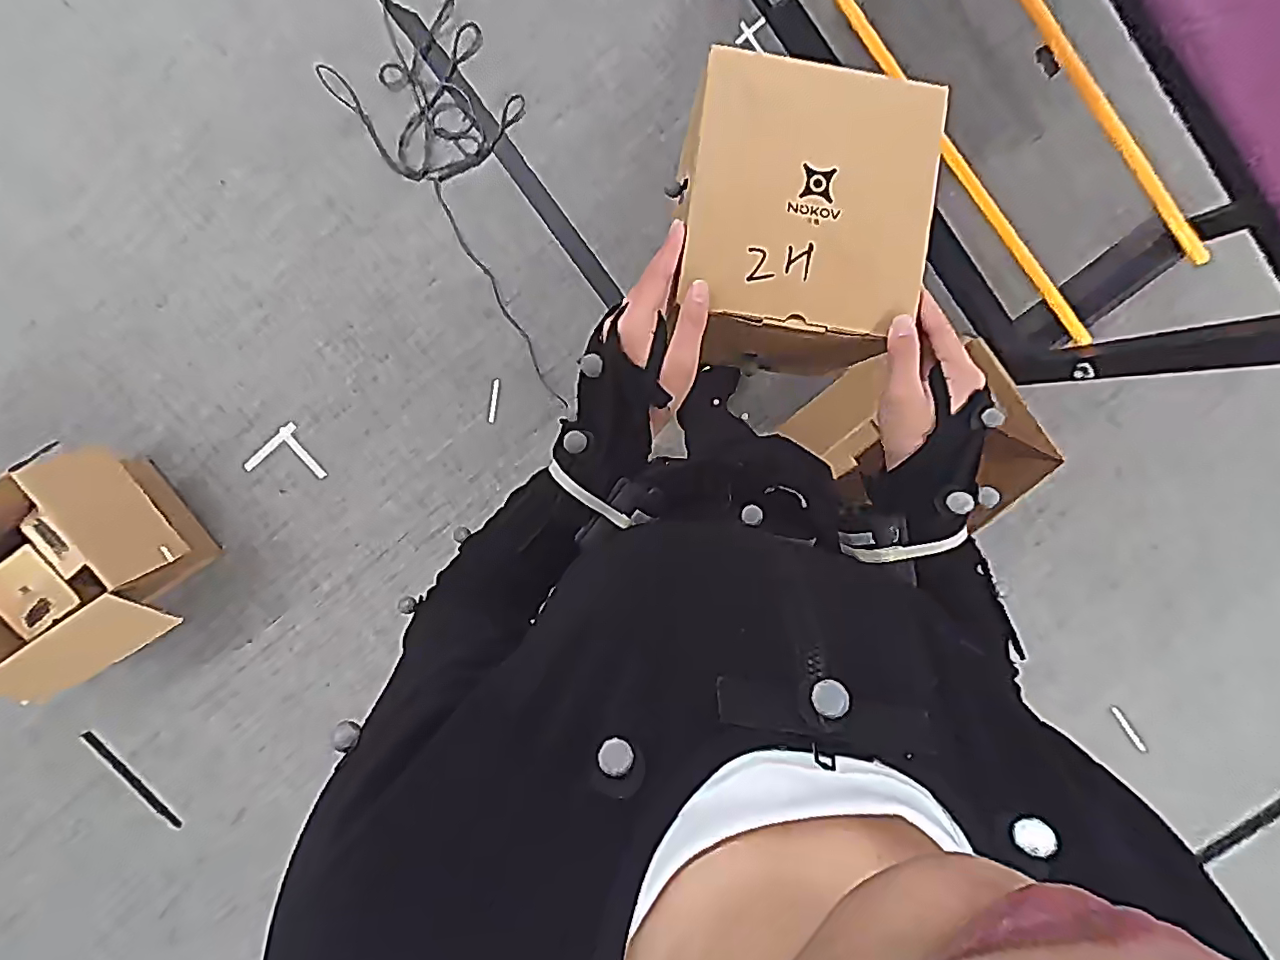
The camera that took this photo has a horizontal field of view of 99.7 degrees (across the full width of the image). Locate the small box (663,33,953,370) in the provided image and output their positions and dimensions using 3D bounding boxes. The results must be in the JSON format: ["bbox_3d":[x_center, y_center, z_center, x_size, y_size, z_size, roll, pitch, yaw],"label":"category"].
[{"bbox_3d":[0.114,-0.199,0.439,0.168,0.176,0.179,7,92,-3],"label":"small box"}]
